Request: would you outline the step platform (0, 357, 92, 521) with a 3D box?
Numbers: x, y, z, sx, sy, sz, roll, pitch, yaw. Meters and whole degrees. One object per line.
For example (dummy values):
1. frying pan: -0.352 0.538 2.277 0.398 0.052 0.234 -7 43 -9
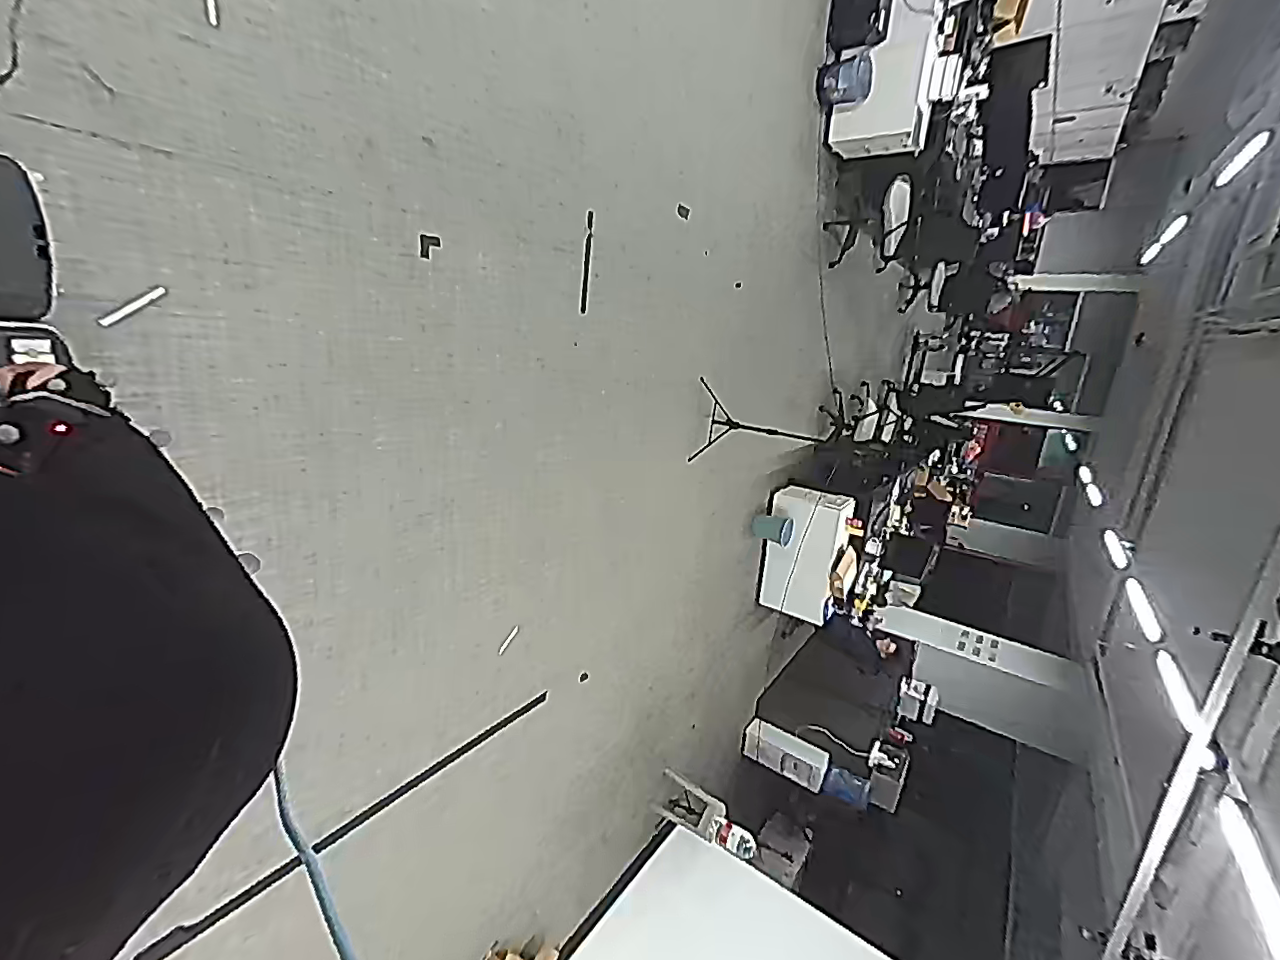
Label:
1. step platform: -1.294 -0.061 0.797 0.684 0.204 0.286 -7 106 -53
